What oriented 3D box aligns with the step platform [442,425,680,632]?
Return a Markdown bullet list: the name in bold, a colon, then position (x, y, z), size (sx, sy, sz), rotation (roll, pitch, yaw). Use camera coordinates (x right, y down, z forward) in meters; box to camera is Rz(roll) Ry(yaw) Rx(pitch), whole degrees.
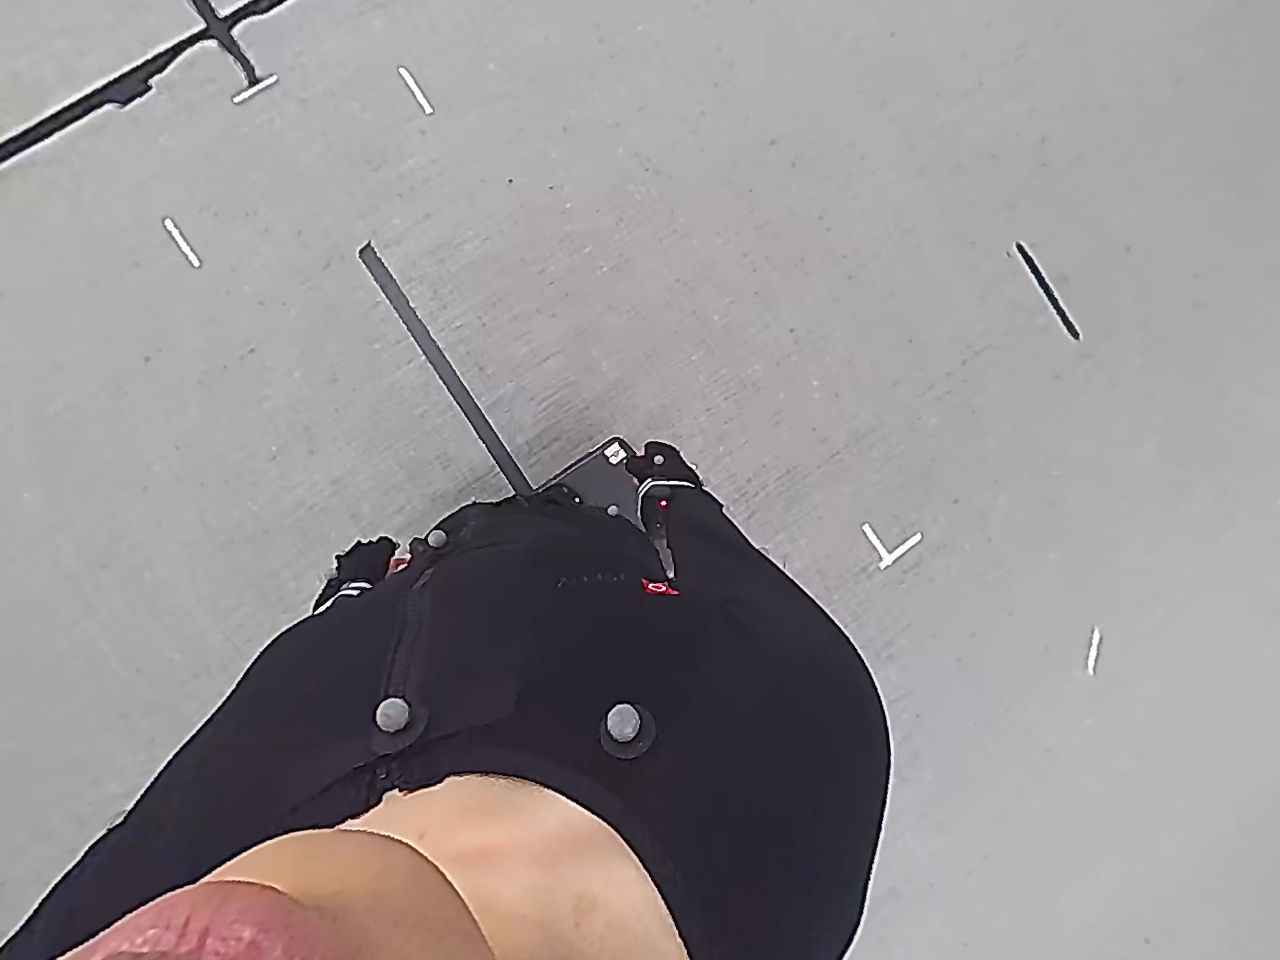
- **step platform**: position (-0.221, 0.131, 1.568), size (0.684, 0.204, 0.286), rotation (-36, 94, -6)
